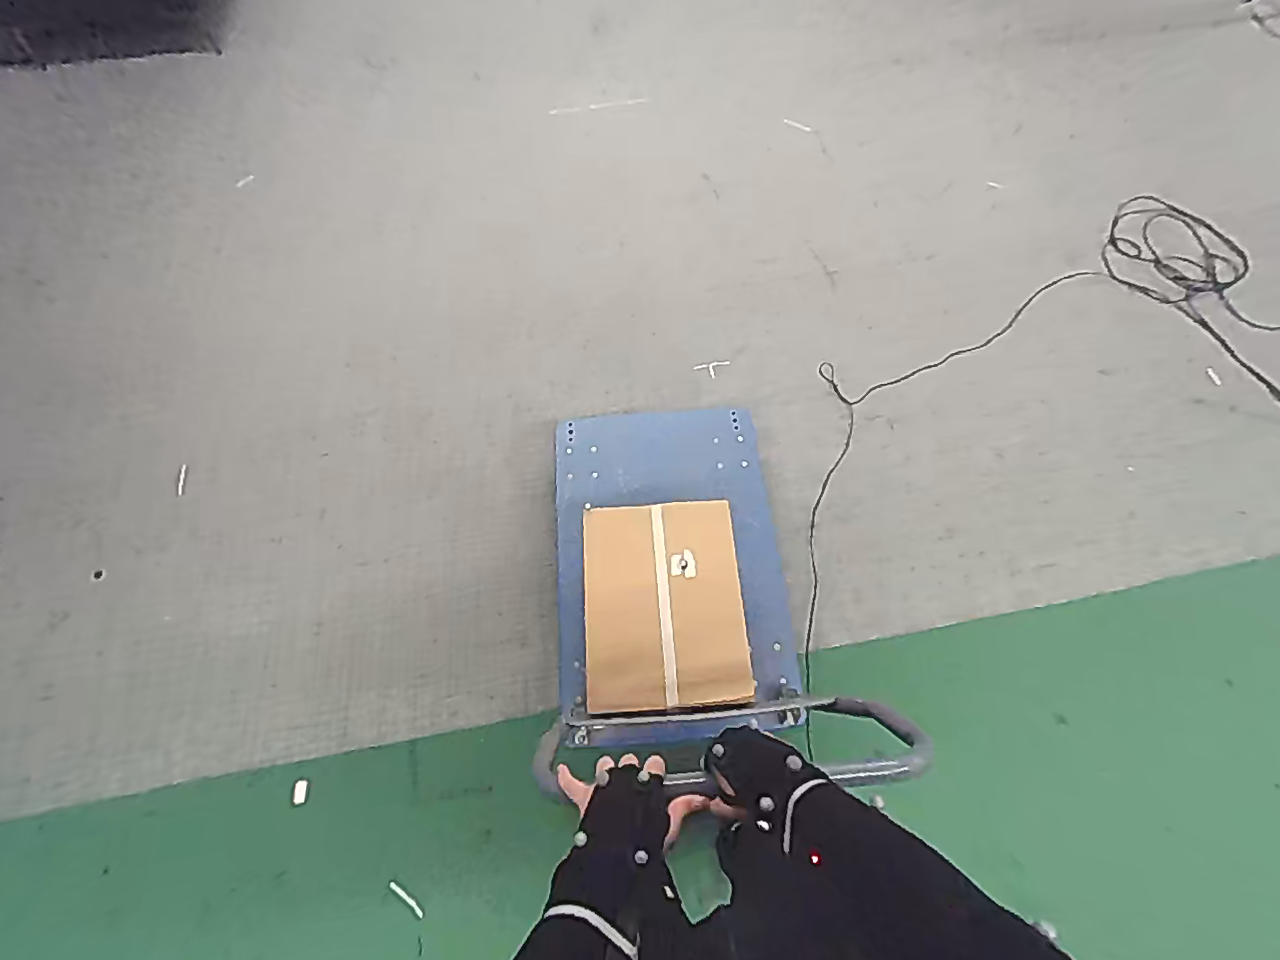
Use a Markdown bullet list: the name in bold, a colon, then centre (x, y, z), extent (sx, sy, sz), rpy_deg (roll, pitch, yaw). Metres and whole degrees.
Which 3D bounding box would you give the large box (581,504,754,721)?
- **large box**: centre (0.045, 0.306, 1.214), extent (0.320, 0.320, 0.408), rpy_deg (-4, 65, -2)
